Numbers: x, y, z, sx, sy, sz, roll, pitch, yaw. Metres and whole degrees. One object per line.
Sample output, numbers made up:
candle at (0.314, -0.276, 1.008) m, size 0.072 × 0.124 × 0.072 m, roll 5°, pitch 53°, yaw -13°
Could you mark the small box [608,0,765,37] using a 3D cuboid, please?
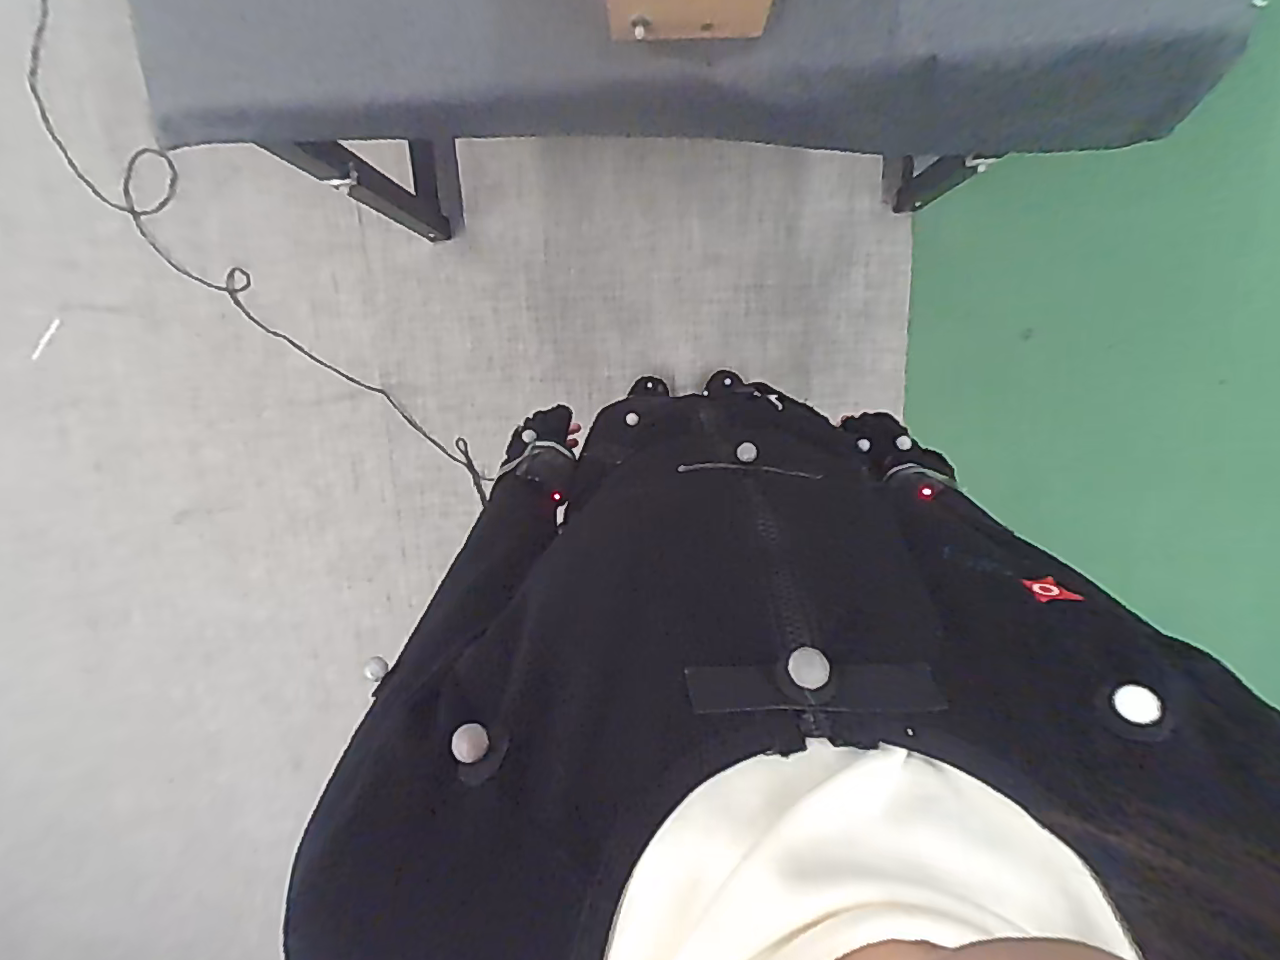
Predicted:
small box at (0.048, -0.559, 0.506) m, size 0.168 × 0.176 × 0.179 m, roll 1°, pitch 100°, yaw 1°
